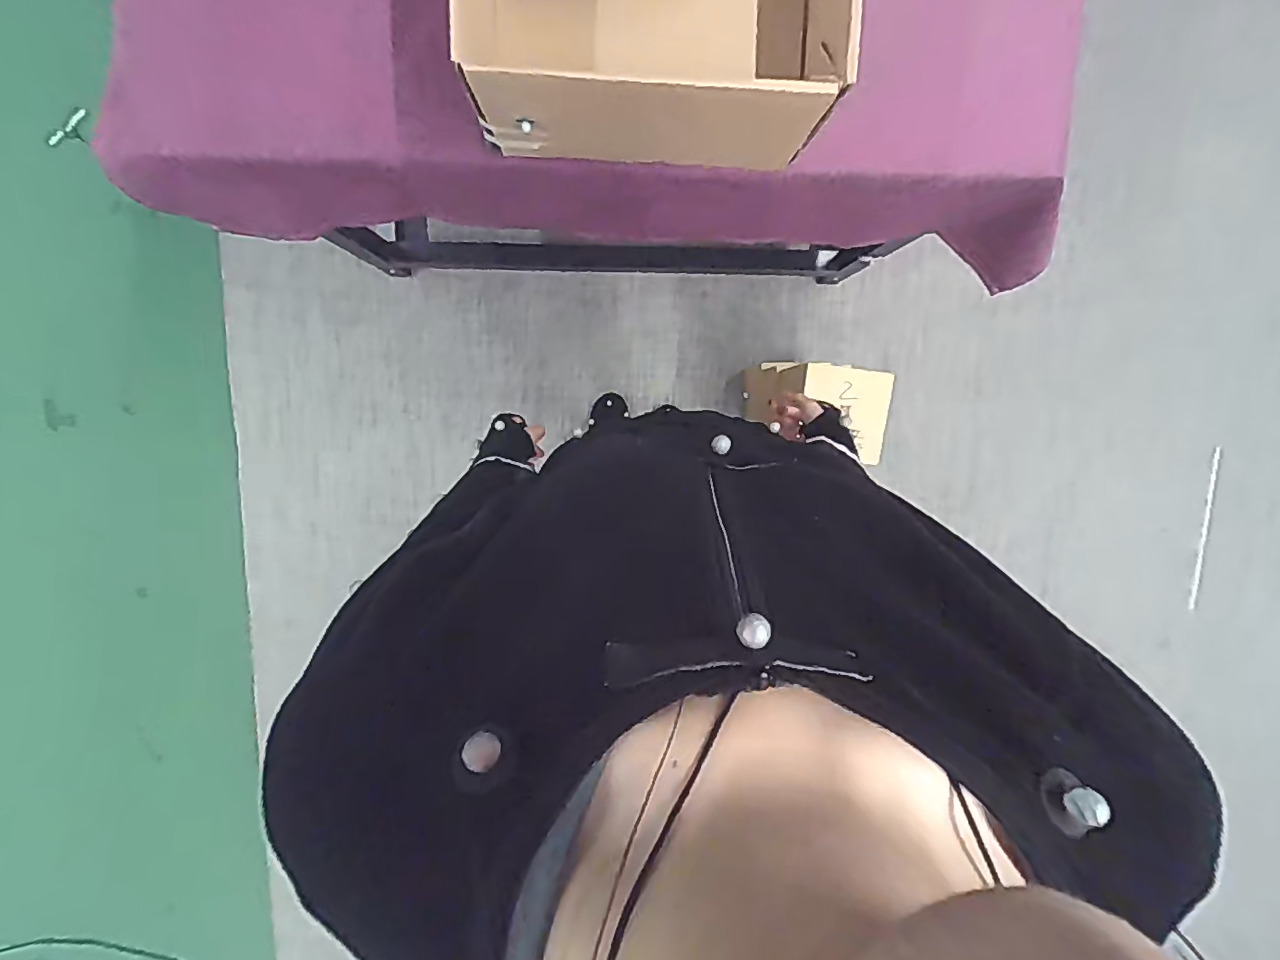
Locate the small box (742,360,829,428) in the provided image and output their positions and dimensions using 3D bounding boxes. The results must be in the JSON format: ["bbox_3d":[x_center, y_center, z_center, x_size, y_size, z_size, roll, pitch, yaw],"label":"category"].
[{"bbox_3d":[0.371,-0.223,1.405,0.179,0.176,0.168,0,98,-1],"label":"small box"}]
